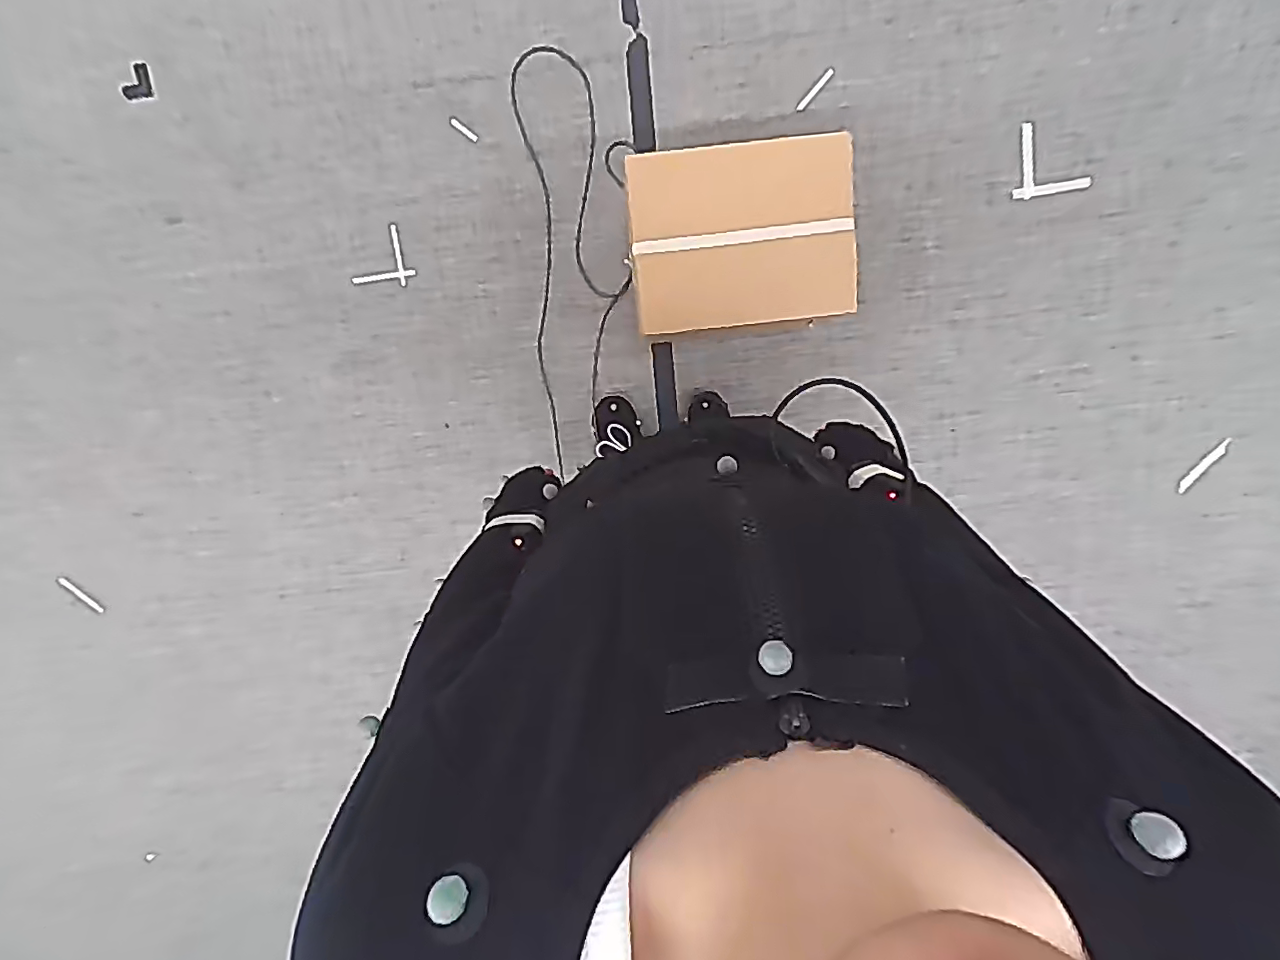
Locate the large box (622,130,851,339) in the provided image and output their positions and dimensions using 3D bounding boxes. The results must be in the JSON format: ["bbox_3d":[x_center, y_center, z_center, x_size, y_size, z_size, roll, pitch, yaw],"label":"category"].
[{"bbox_3d":[0.182,-0.479,1.133,0.408,0.320,0.320,-6,101,1],"label":"large box"}]
